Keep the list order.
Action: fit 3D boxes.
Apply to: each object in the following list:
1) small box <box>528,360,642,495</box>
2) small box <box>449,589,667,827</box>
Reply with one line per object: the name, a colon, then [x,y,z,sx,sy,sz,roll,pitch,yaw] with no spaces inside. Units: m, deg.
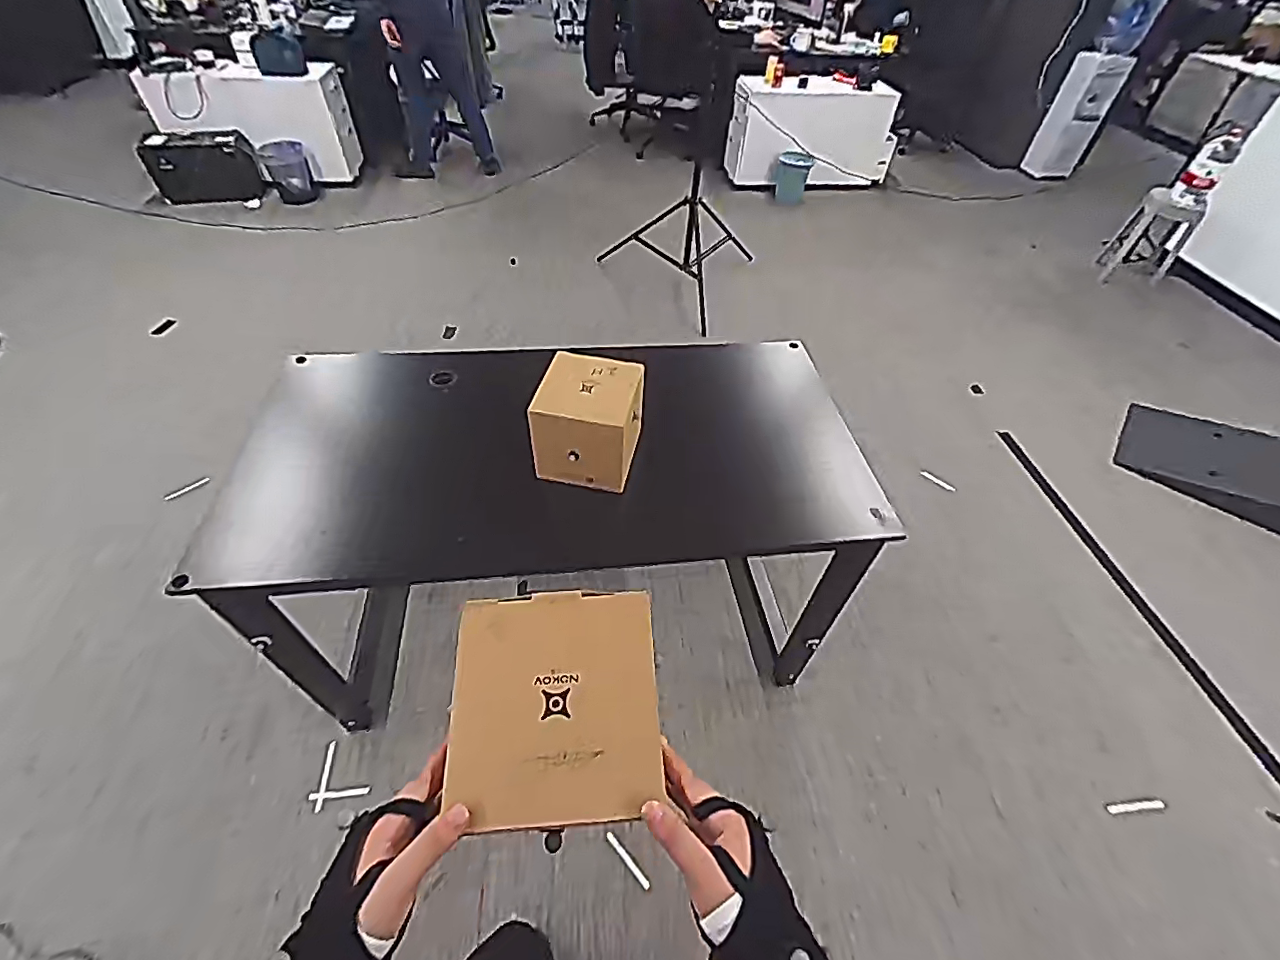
small box: [-0.094,-0.096,1.007,0.168,0.176,0.179,10,48,6]
small box: [-0.069,0.219,0.514,0.168,0.176,0.179,-2,57,-4]
